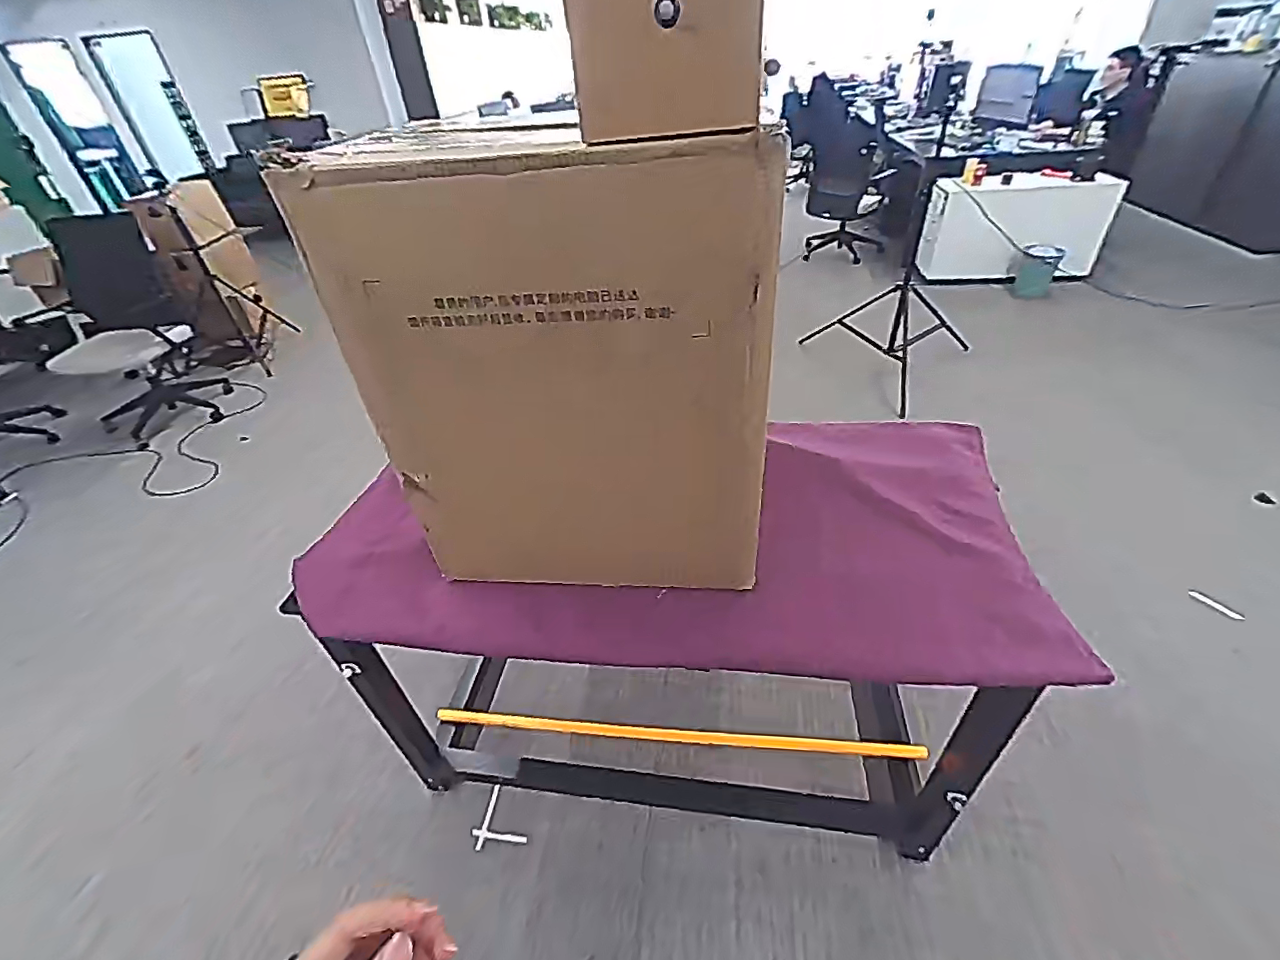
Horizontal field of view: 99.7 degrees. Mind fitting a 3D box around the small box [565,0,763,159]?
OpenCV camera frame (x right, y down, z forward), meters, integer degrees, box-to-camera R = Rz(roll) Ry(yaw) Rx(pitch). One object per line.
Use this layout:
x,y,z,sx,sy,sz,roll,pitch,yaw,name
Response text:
0.031,-0.420,0.512,0.168,0.176,0.179,2,39,10,small box
